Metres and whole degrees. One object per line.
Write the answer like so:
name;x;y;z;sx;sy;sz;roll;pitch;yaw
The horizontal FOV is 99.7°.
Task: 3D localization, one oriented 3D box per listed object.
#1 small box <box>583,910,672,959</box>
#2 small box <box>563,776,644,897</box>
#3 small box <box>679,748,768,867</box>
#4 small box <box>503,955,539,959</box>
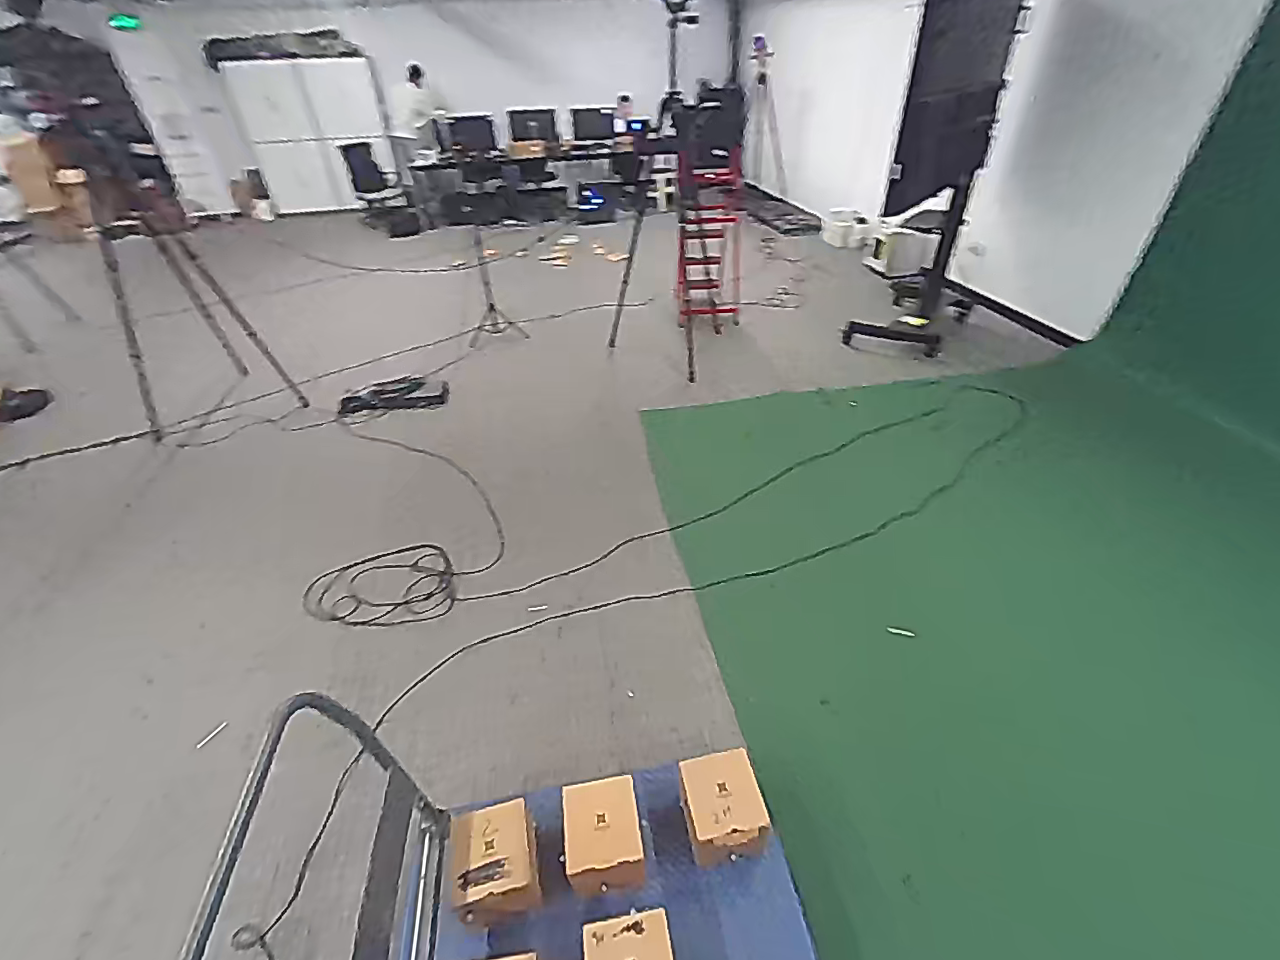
small box;-0.017;0.973;1.043;0.168;0.176;0.179;-7;38;-7
small box;-0.085;0.821;1.248;0.168;0.176;0.179;-8;40;-7
small box;0.189;0.776;1.283;0.168;0.176;0.179;-9;38;-7
small box;-0.269;1.020;1.001;0.179;0.176;0.168;-6;38;-5
